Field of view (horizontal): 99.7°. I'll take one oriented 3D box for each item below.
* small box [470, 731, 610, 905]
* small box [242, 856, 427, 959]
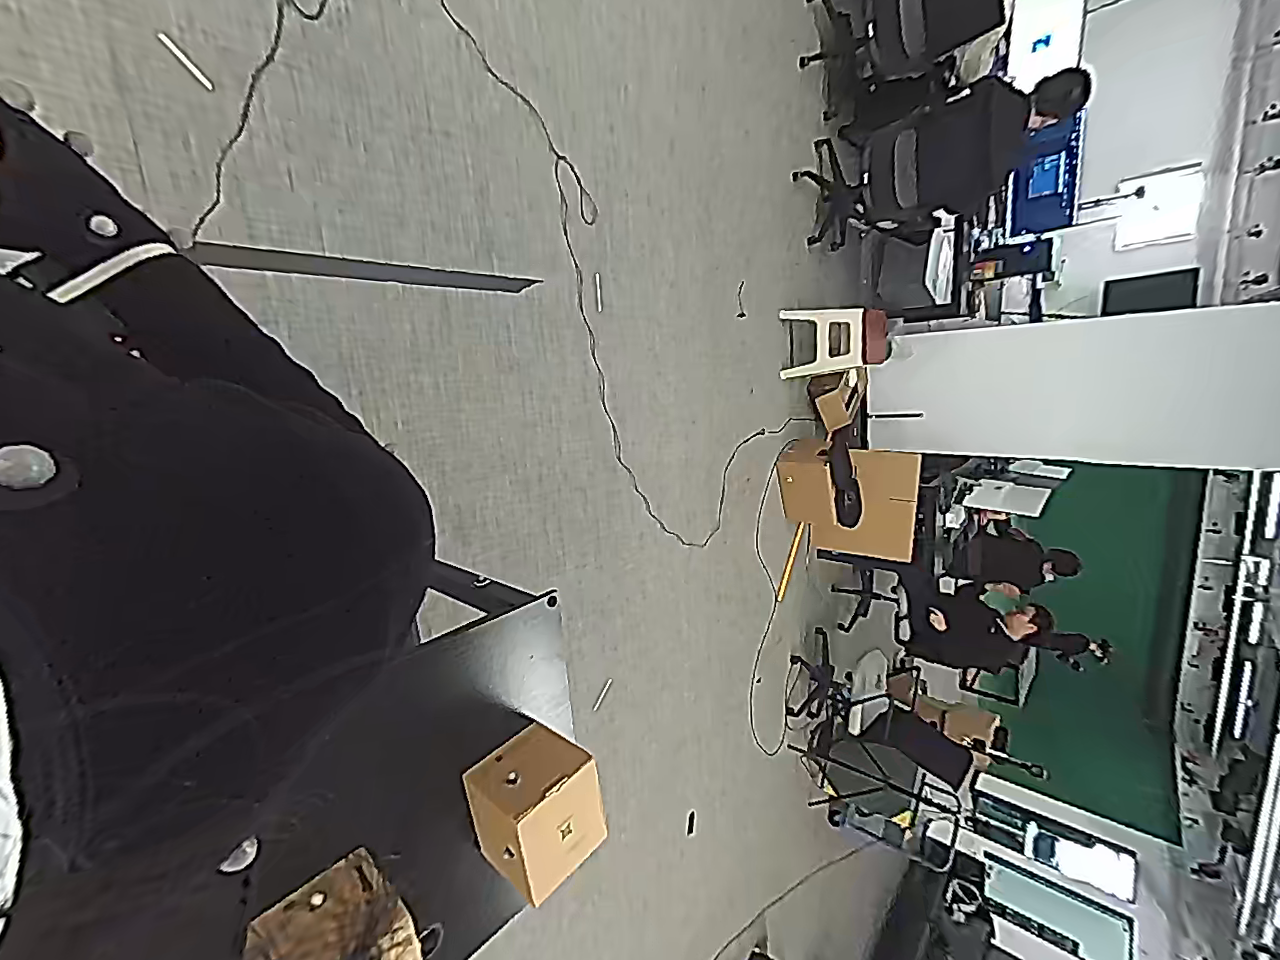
[{"bbox_3d":[-0.178,0.576,0.955,0.168,0.176,0.179,-22,111,-43],"label":"small box"},{"bbox_3d":[-0.397,0.662,0.720,0.168,0.176,0.179,-19,108,-46],"label":"small box"}]
